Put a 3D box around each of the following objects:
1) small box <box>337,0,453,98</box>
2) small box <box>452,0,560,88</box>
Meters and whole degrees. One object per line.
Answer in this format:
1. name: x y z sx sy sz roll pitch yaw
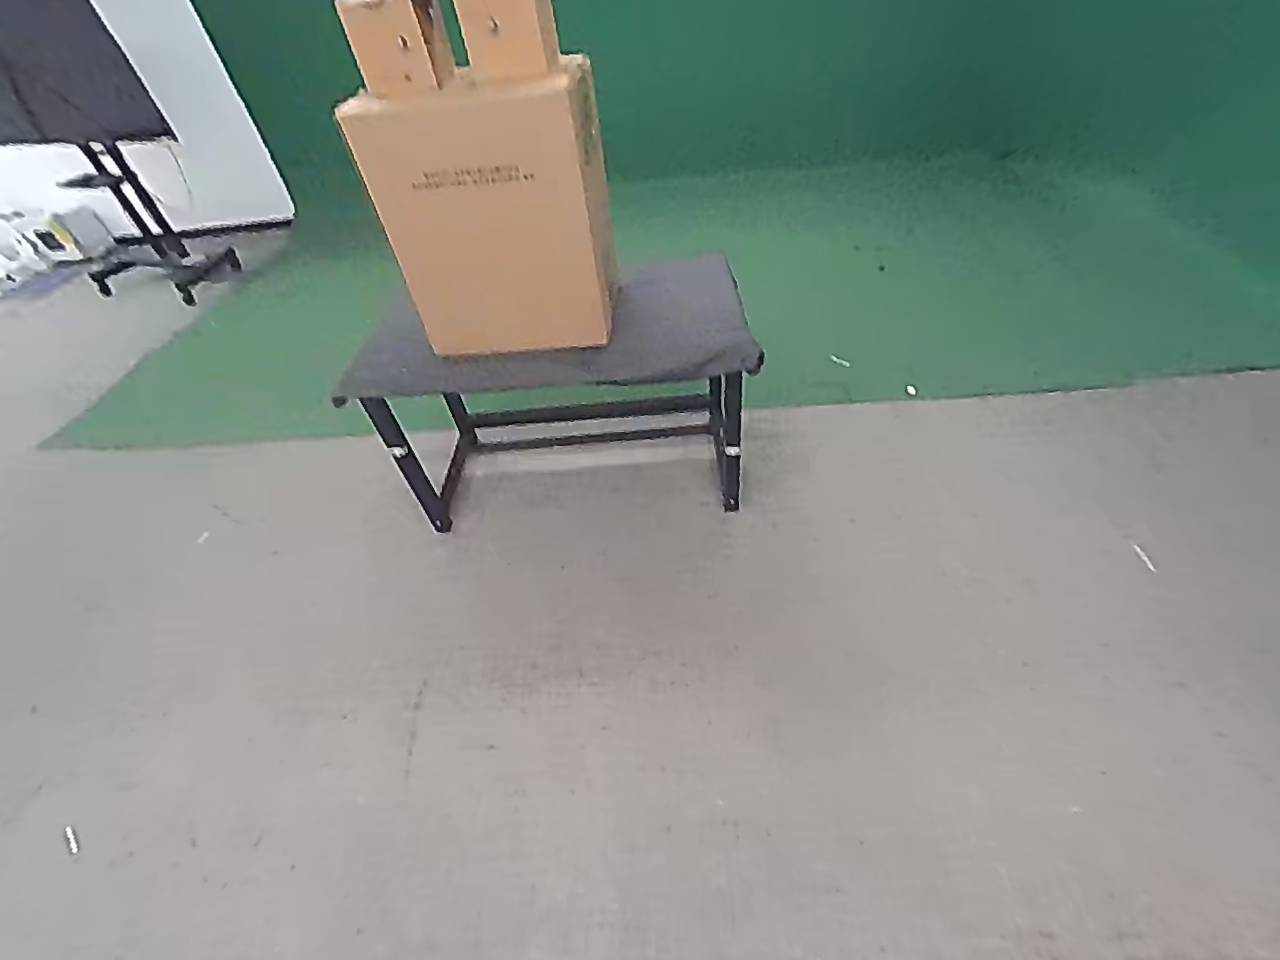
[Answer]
1. small box: -0.550 -0.996 1.244 0.168 0.176 0.179 -2 45 3
2. small box: -0.294 -1.008 1.222 0.179 0.176 0.168 -2 48 6
